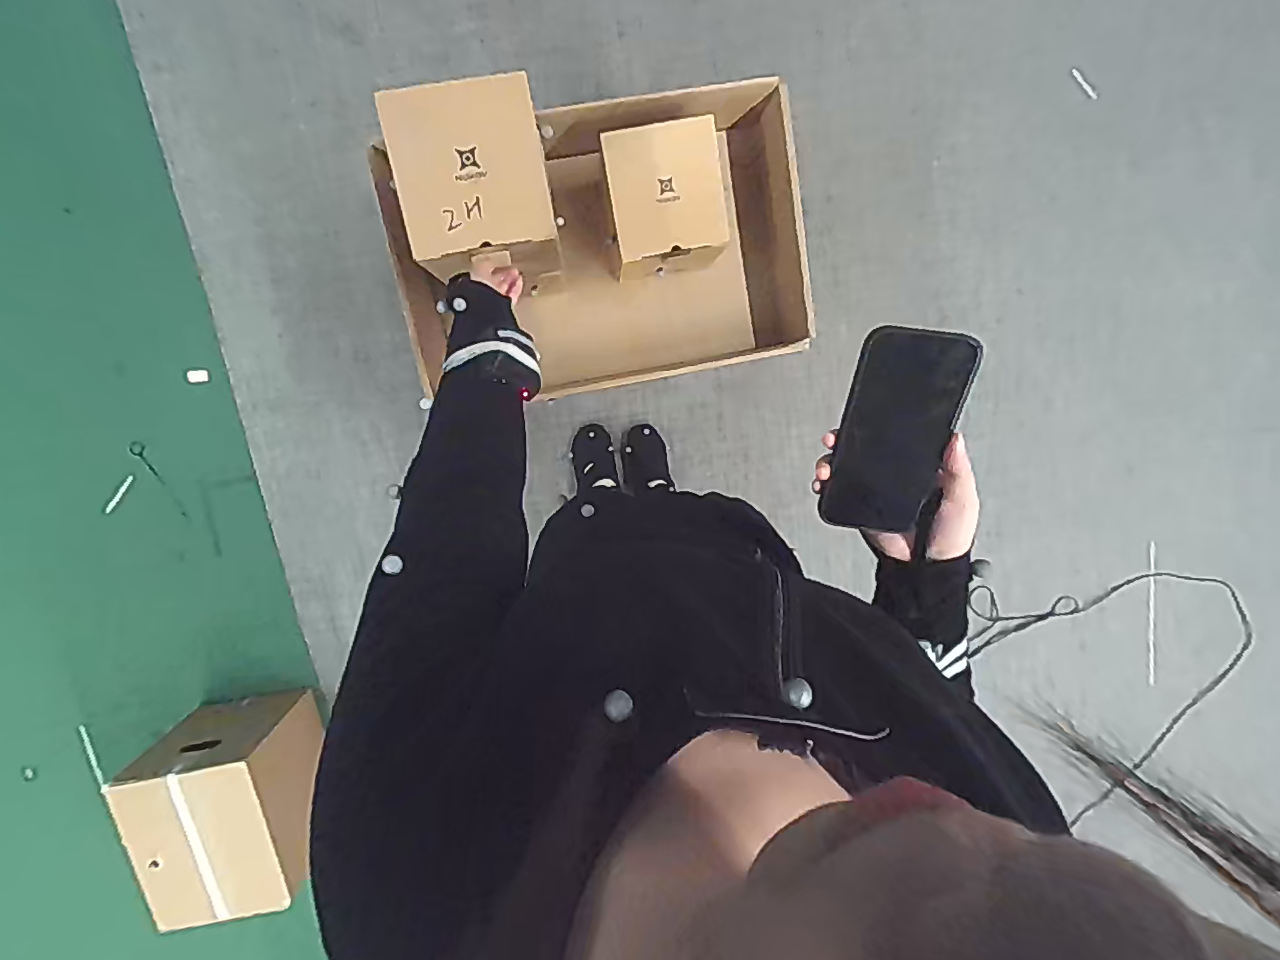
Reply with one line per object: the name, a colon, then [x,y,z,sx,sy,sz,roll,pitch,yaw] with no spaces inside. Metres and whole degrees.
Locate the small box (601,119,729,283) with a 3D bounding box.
small box: [0.031,-0.426,0.852,0.168,0.176,0.179,-11,102,-2]

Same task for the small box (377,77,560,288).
small box: [-0.199,-0.356,0.677,0.168,0.176,0.179,-10,101,-3]
